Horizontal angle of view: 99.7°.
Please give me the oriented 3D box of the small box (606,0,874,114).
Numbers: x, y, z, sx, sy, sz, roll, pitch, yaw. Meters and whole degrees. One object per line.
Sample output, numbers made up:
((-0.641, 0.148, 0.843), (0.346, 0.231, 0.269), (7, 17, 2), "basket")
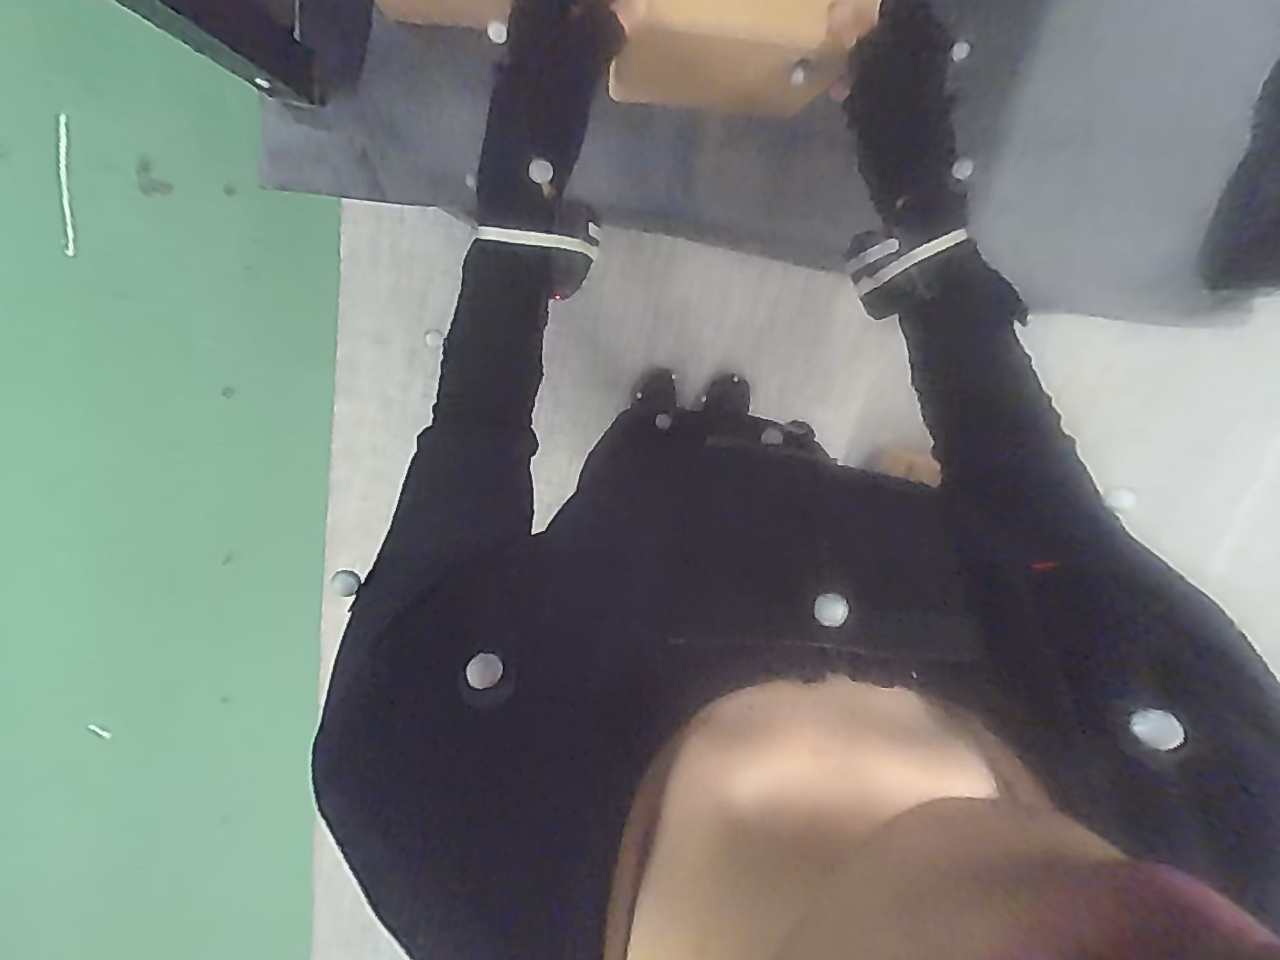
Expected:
((0.066, -0.395, 0.404), (0.179, 0.176, 0.168), (2, 112, -7), "small box")

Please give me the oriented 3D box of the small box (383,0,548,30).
((-0.183, -0.554, 0.496), (0.179, 0.176, 0.168), (4, 107, -1), "small box")
